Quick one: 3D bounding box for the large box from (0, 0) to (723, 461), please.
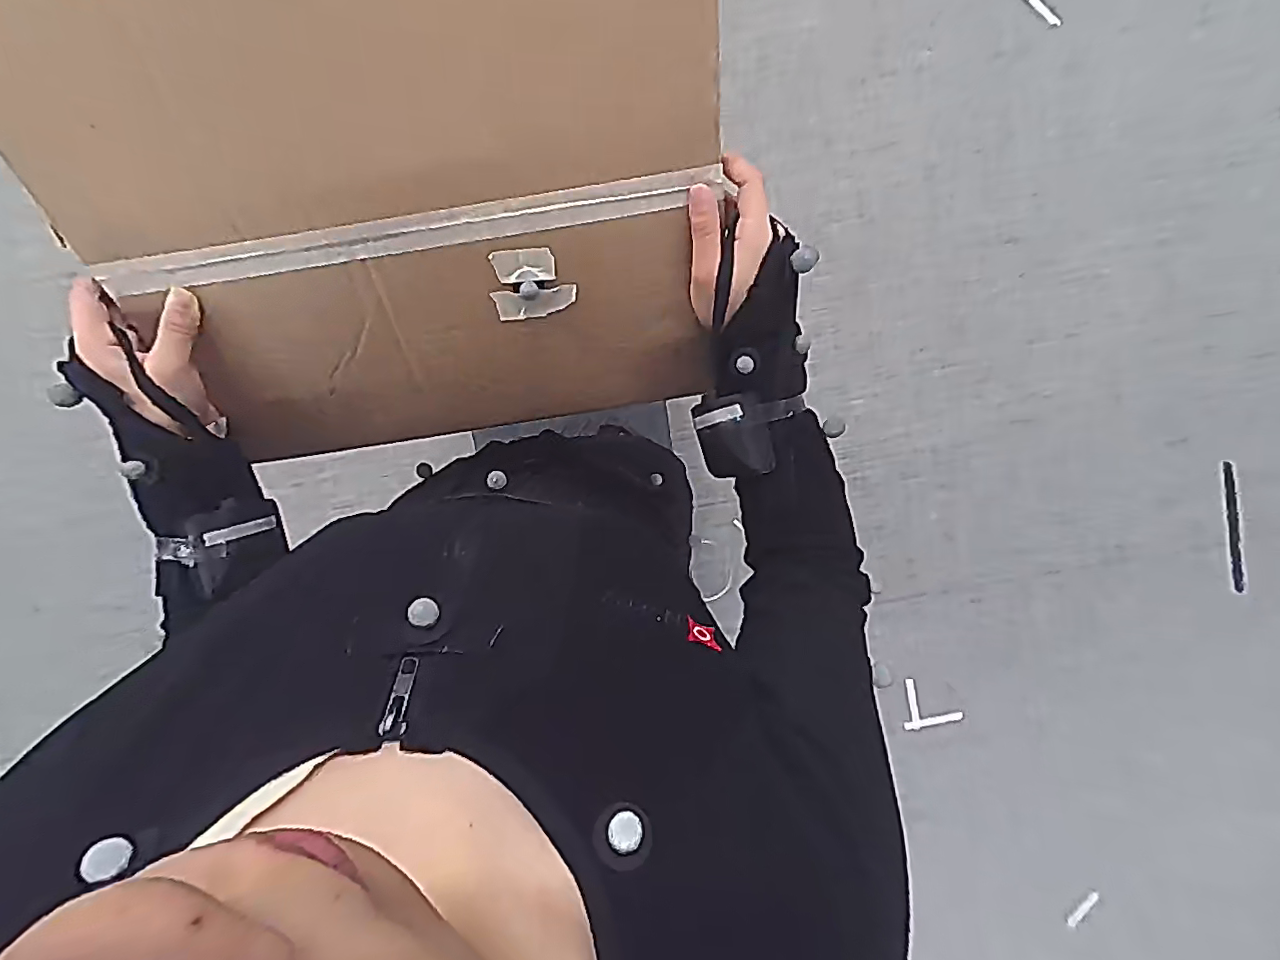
[{"bbox_3d":[-0.164,-0.259,0.475,0.408,0.320,0.320,-10,131,-1],"label":"large box"}]
